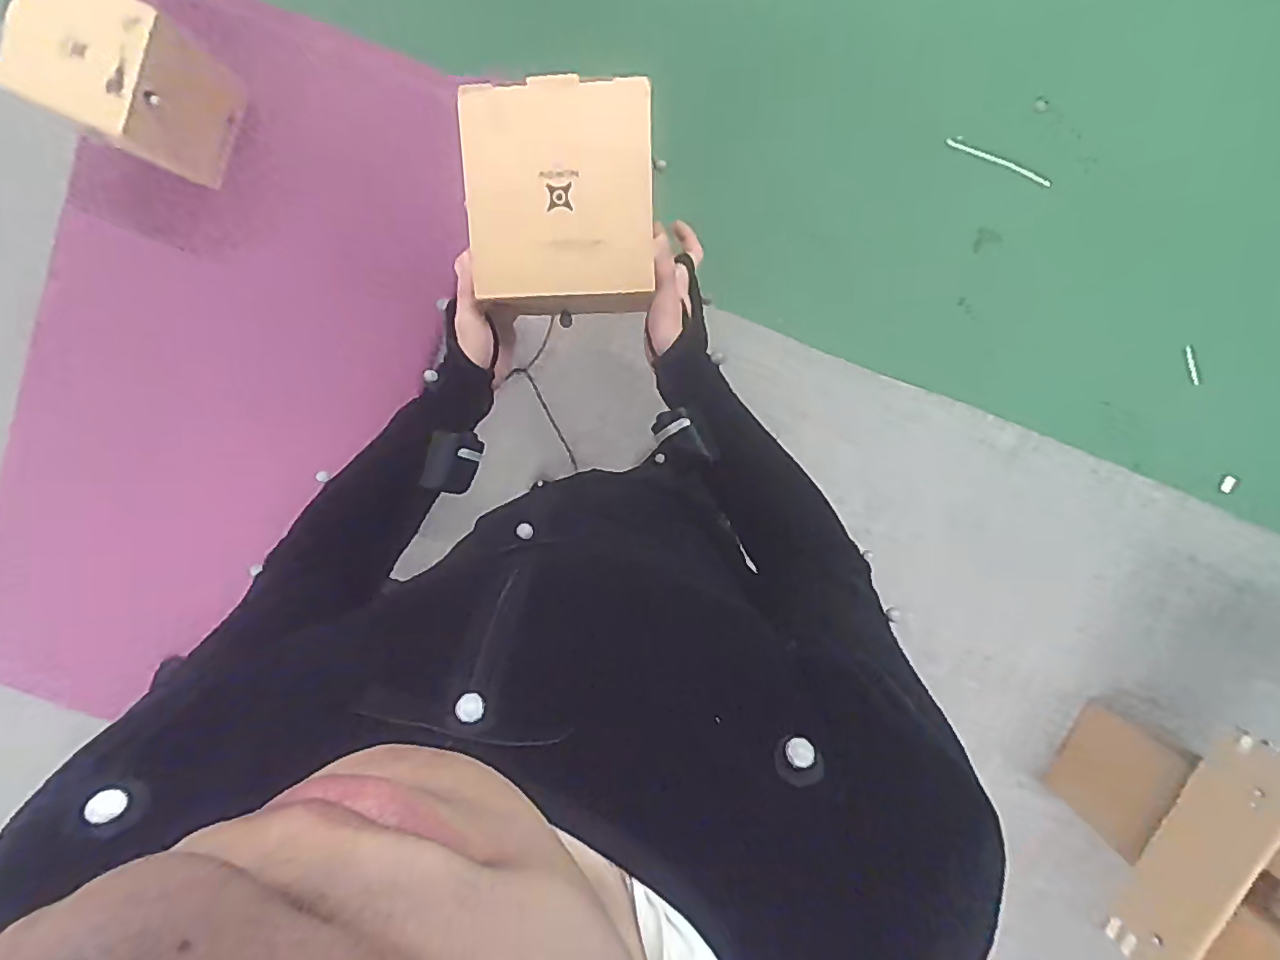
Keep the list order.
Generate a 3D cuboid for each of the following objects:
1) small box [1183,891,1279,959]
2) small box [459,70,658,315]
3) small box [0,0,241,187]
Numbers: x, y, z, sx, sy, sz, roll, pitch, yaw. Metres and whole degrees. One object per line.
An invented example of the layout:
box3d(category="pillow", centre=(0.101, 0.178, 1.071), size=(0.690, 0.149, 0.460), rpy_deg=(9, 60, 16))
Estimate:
box3d(category="small box", centre=(1.396, 1.072, 1.200), size=(0.179, 0.176, 0.168), rpy_deg=(27, 96, -1))
box3d(category="small box", centre=(-0.067, -0.265, 0.538), size=(0.168, 0.176, 0.179), rpy_deg=(-1, 102, 1))
box3d(category="small box", centre=(-0.721, -0.548, 0.757), size=(0.179, 0.176, 0.168), rpy_deg=(23, 97, -1))
